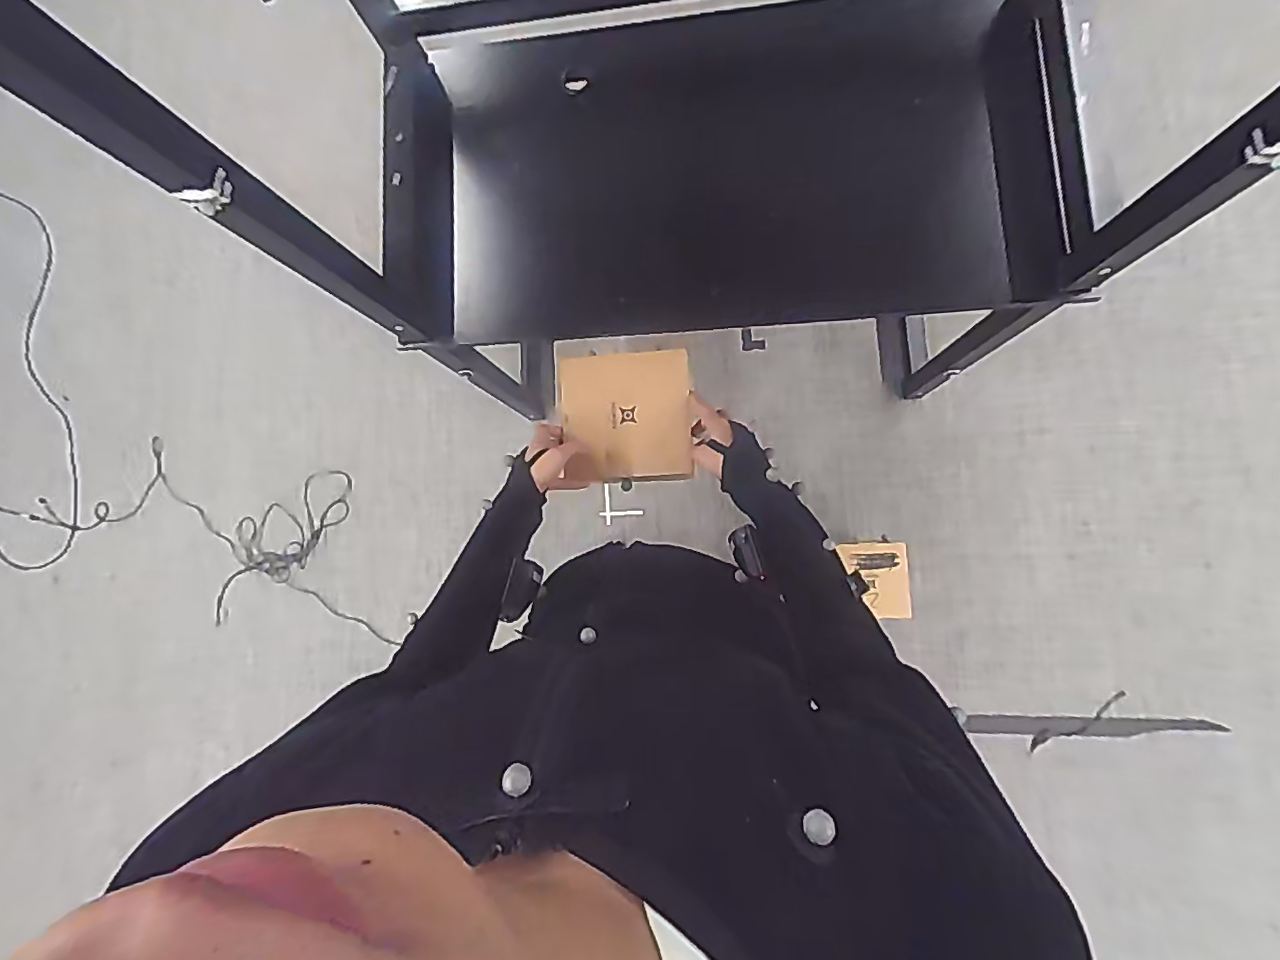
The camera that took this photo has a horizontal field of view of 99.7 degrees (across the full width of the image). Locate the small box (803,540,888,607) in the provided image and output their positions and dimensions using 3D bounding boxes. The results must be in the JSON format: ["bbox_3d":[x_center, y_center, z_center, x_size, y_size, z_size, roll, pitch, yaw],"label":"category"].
[{"bbox_3d":[0.557,0.251,1.483,0.179,0.176,0.168,-5,84,7],"label":"small box"}]

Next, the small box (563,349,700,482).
[{"bbox_3d":[-0.003,-0.083,0.786,0.179,0.176,0.168,-3,88,9],"label":"small box"}]
